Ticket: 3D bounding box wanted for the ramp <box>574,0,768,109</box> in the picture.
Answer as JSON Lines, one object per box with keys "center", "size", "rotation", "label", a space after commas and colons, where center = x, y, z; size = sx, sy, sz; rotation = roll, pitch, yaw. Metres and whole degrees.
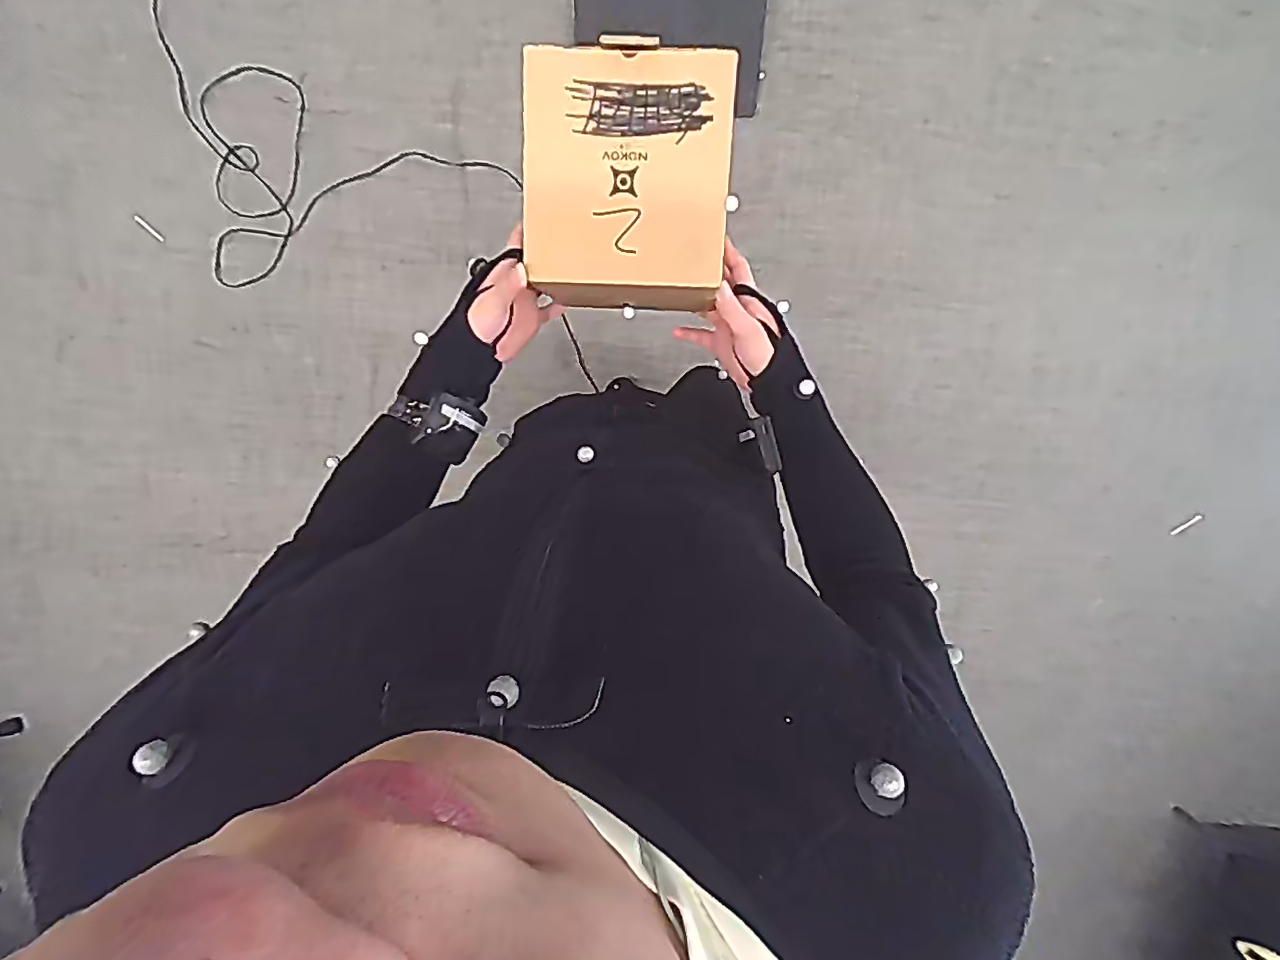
{"center": [0.094, -1.460, 1.257], "size": [0.509, 0.206, 0.991], "rotation": [1, 101, -1], "label": "ramp"}
